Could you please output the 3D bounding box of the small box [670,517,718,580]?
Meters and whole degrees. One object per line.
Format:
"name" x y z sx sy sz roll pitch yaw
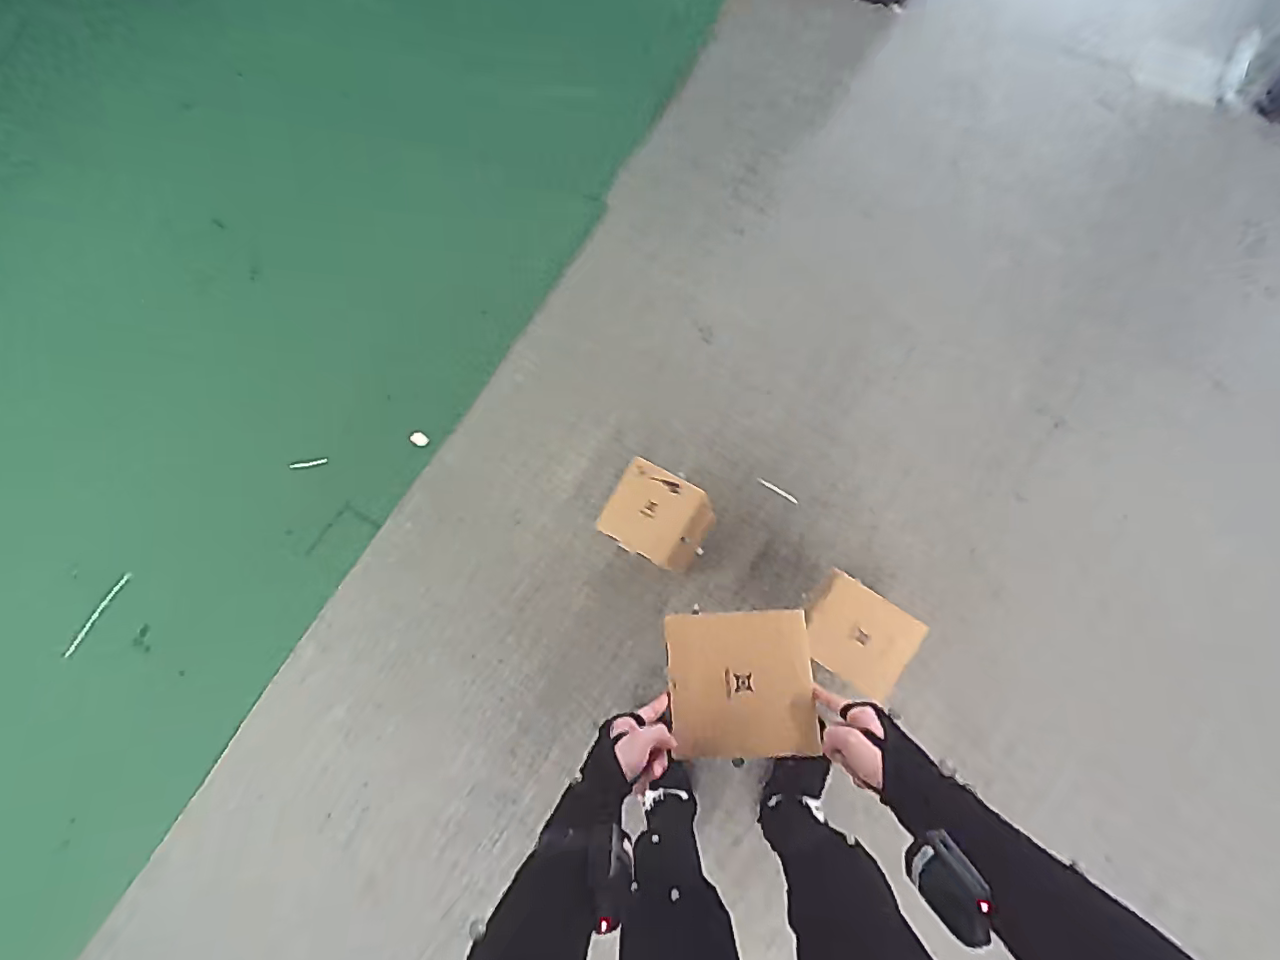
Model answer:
"small box" 0.075 0.135 1.328 0.179 0.176 0.168 32 85 15

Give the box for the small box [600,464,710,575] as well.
"small box" 0.042 0.094 1.173 0.168 0.176 0.179 29 84 16

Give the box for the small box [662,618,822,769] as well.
"small box" 0.127 0.276 0.724 0.179 0.176 0.168 -6 71 6

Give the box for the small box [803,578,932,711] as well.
"small box" 0.415 0.311 1.045 0.179 0.176 0.168 34 85 16
